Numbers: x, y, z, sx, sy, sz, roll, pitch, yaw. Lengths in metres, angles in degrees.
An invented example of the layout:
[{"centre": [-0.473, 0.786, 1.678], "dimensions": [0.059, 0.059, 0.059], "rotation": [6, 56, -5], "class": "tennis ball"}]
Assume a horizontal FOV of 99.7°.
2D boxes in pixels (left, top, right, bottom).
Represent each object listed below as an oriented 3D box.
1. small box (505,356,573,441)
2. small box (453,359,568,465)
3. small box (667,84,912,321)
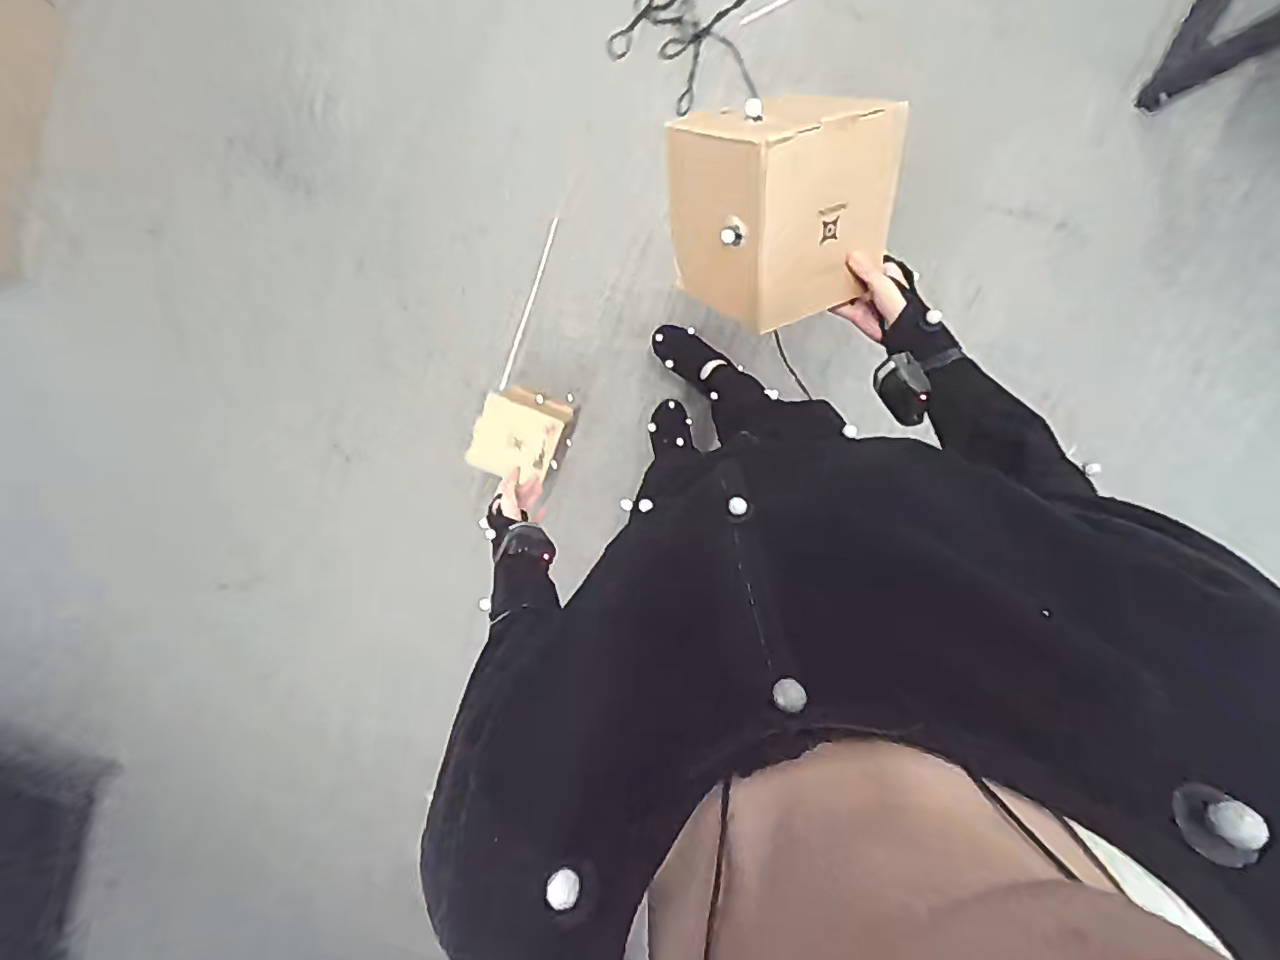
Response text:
[{"centre": [-0.280, -0.199, 1.366], "dimensions": [0.168, 0.176, 0.179], "rotation": [27, 102, -6], "class": "small box"}, {"centre": [-0.281, -0.155, 1.208], "dimensions": [0.179, 0.176, 0.168], "rotation": [28, 102, -6], "class": "small box"}, {"centre": [0.139, -0.295, 0.562], "dimensions": [0.168, 0.176, 0.179], "rotation": [-23, 135, -17], "class": "small box"}]
